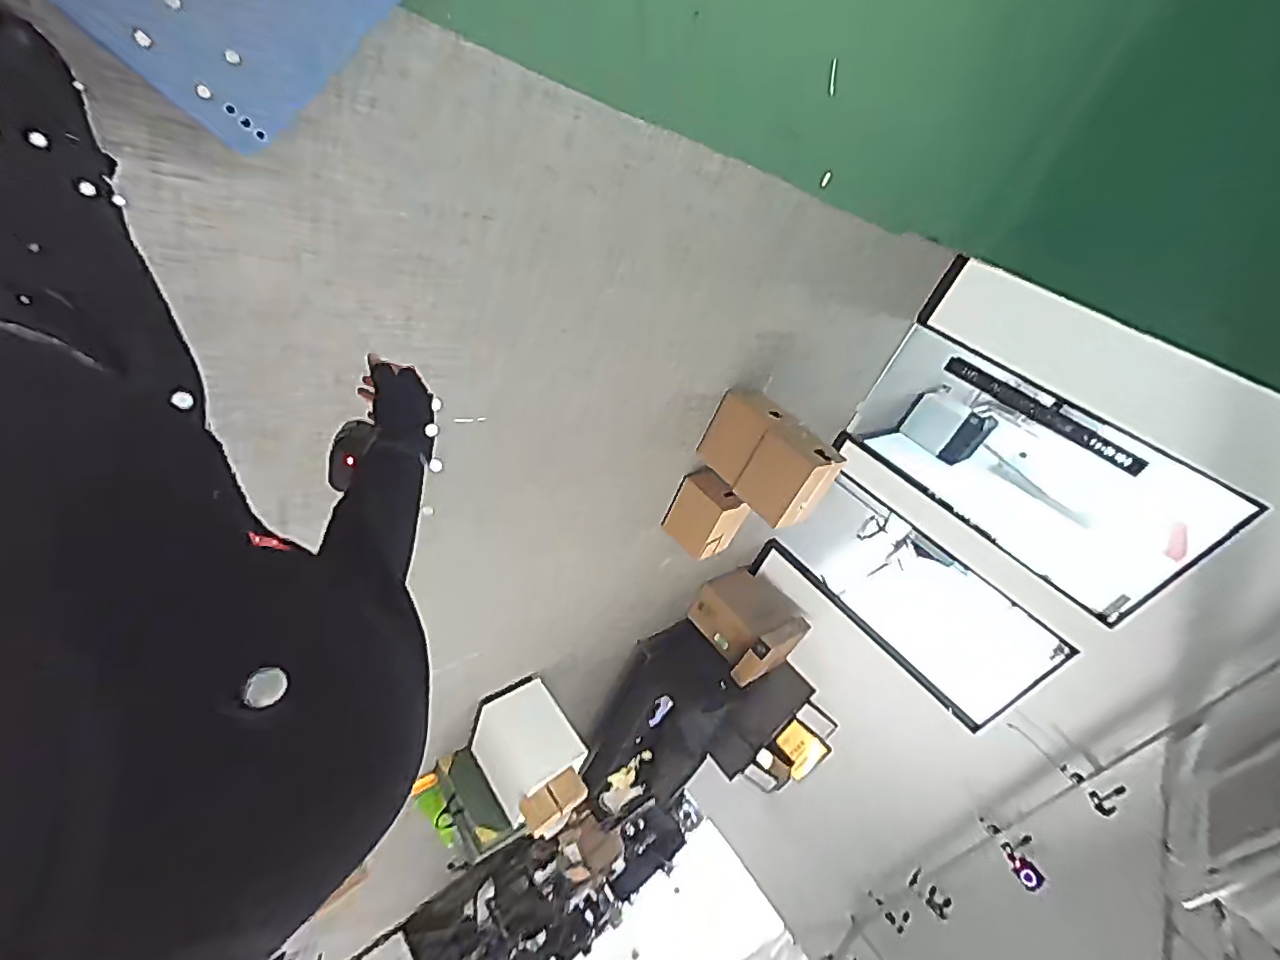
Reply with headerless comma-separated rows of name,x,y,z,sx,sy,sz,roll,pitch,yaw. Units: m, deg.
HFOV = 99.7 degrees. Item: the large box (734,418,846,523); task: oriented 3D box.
large box,0.745,-0.055,2.725,0.320,0.320,0.408,-10,137,-43
